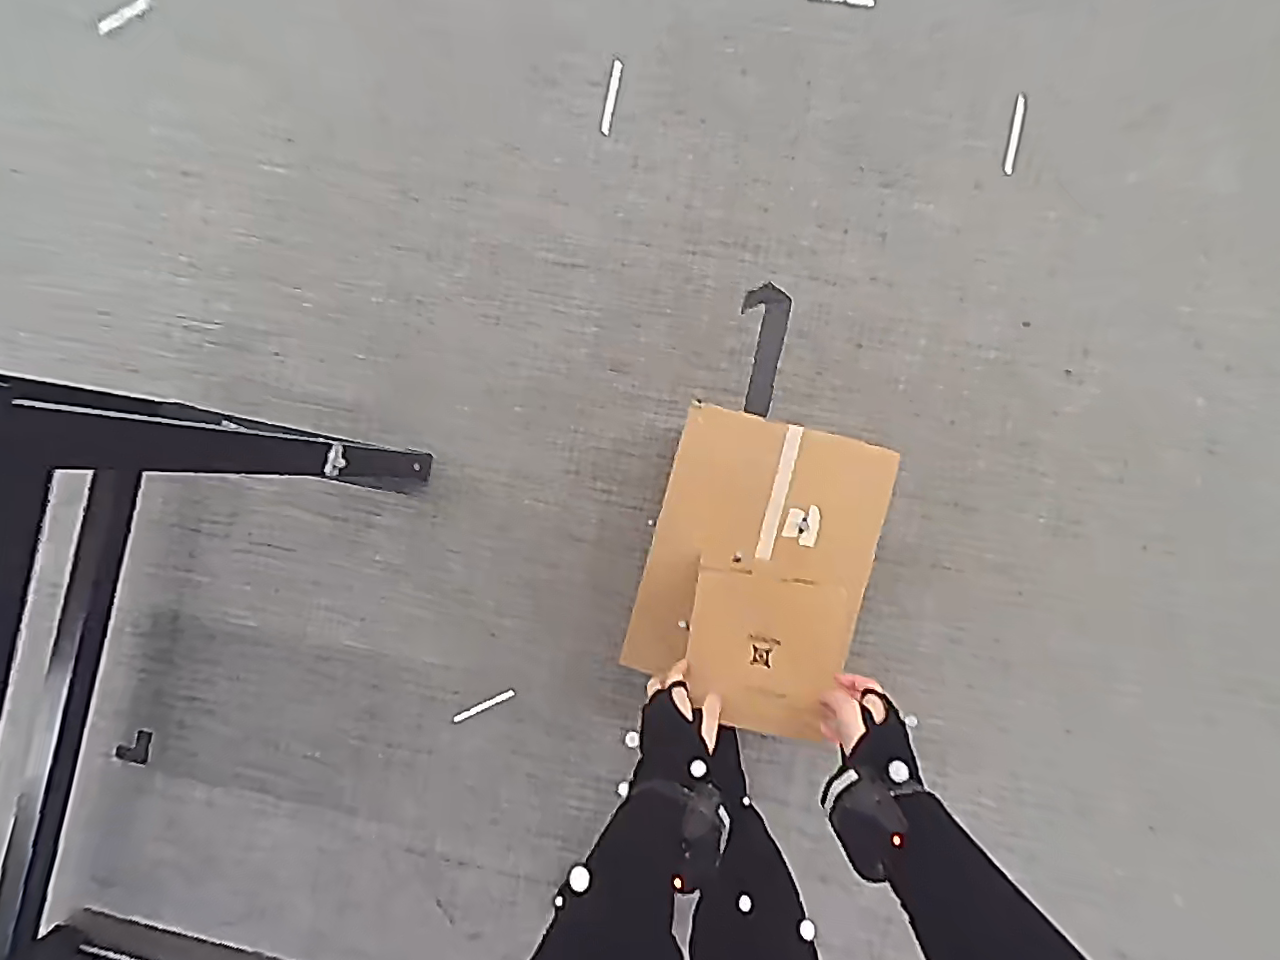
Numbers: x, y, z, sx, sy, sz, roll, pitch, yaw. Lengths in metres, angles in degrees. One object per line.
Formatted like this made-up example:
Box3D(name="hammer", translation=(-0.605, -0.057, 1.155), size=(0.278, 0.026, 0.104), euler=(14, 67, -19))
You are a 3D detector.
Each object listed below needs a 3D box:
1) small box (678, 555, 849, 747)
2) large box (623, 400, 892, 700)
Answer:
Box3D(name="small box", translation=(0.146, 0.194, 0.675), size=(0.168, 0.176, 0.179), euler=(9, 89, 9))
Box3D(name="large box", translation=(0.177, 0.117, 0.928), size=(0.320, 0.320, 0.408), euler=(15, 89, 3))
